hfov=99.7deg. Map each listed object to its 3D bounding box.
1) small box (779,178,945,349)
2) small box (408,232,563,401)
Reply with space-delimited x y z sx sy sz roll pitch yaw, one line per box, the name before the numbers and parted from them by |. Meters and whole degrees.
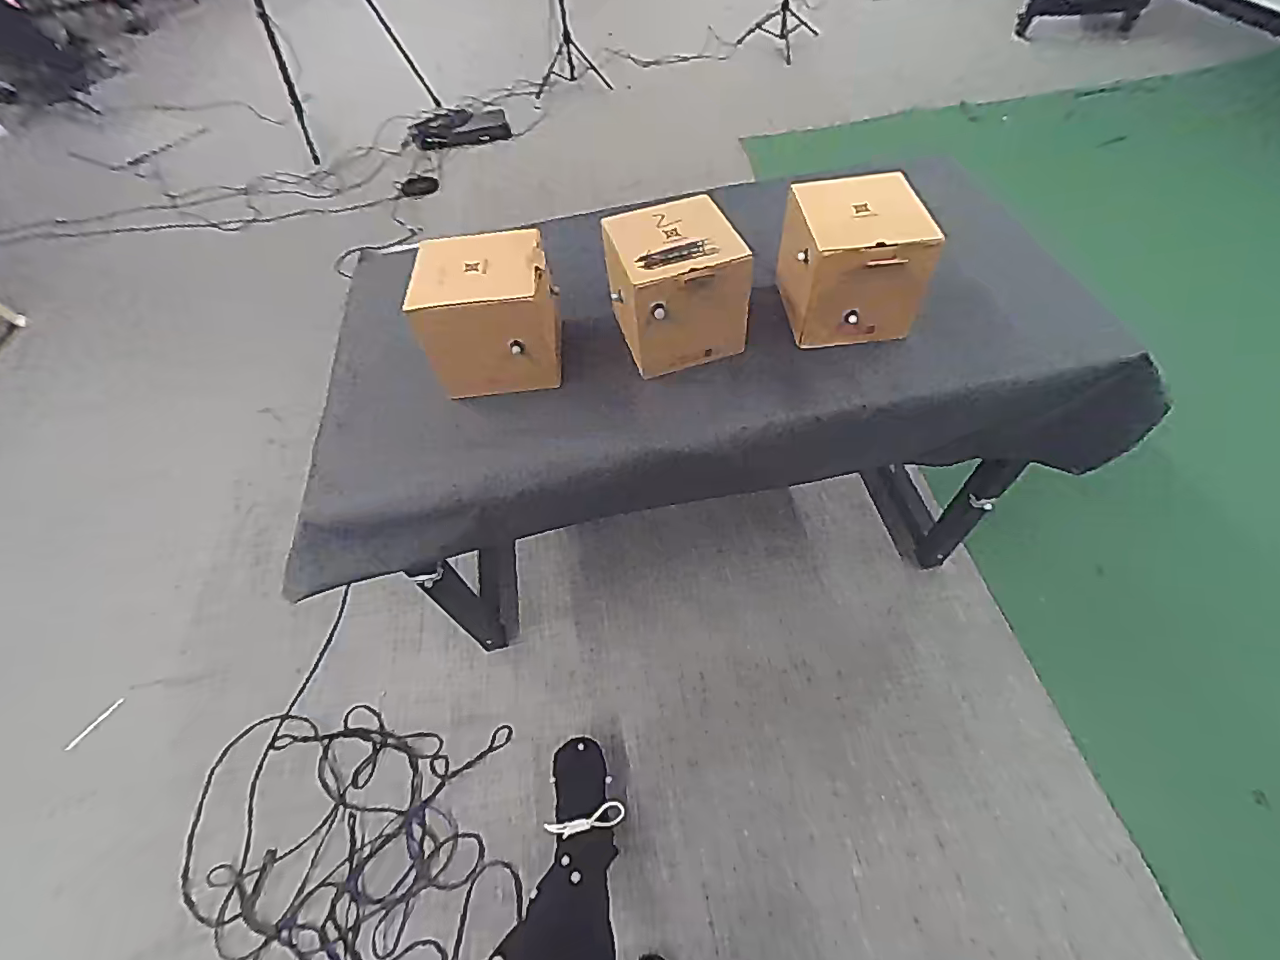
small box | 0.317 -0.324 0.818 0.168 0.176 0.179 -6 55 1
small box | -0.214 -0.239 0.807 0.179 0.176 0.168 -7 54 1
